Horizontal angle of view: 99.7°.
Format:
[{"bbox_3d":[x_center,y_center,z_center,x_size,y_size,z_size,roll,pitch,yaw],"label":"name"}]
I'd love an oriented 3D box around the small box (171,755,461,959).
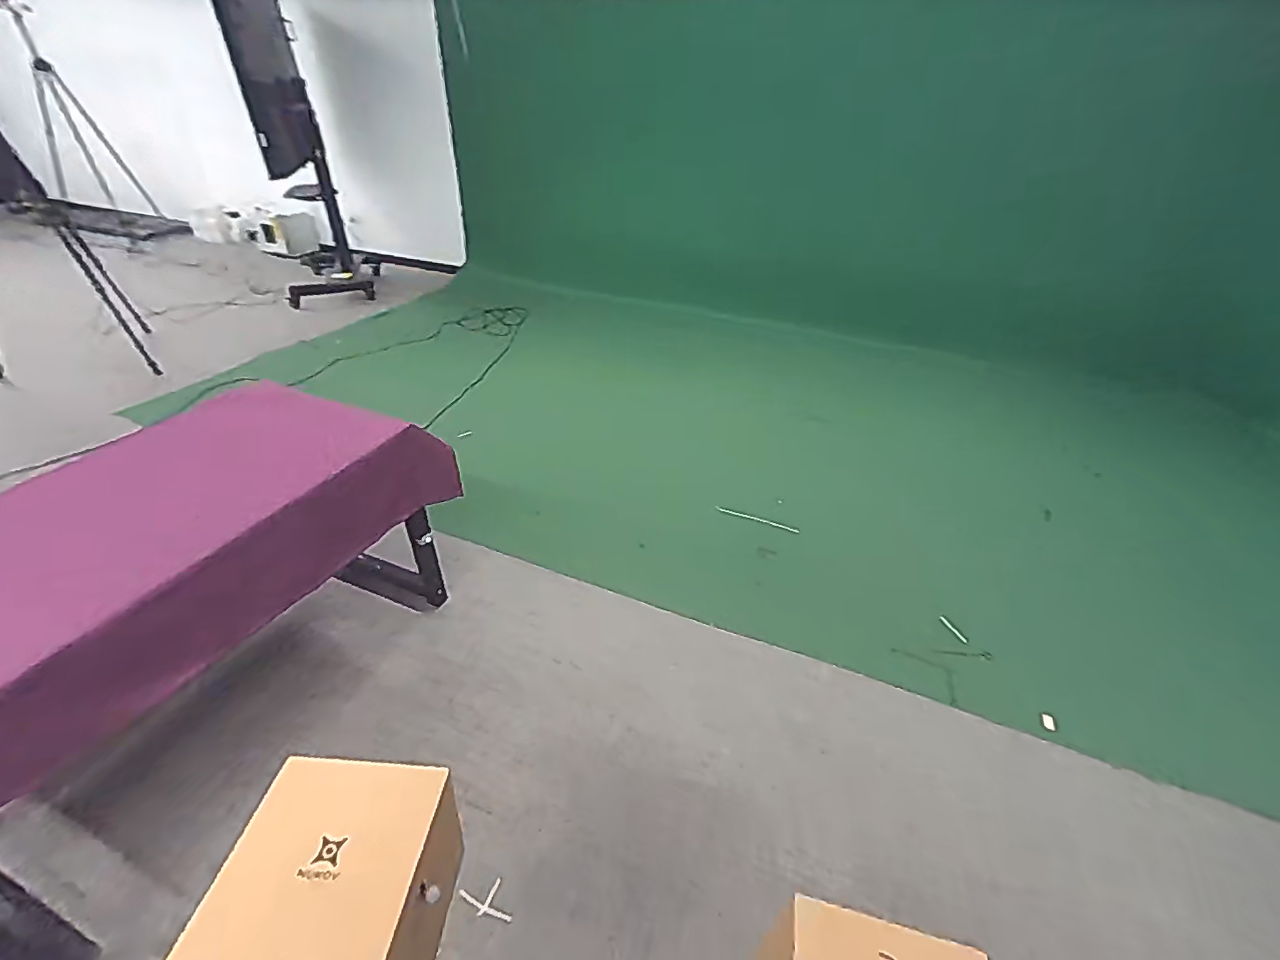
[{"bbox_3d":[-0.280,0.401,0.520,0.168,0.176,0.179,5,33,-1],"label":"small box"}]
